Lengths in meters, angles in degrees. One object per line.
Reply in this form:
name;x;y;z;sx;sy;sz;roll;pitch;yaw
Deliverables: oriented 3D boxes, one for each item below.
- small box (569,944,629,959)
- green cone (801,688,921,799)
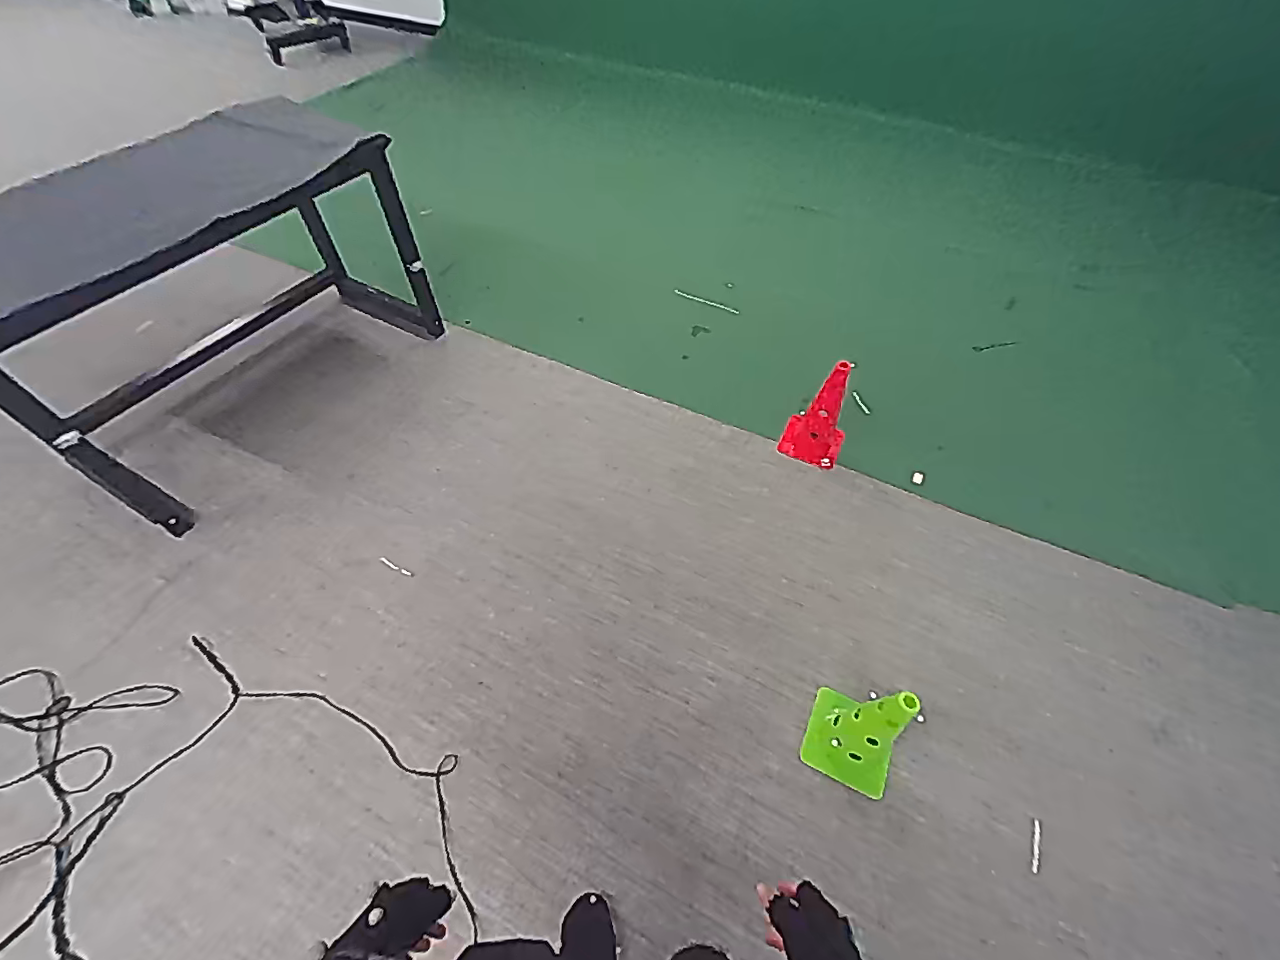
small box;-0.069;1.002;0.996;0.168;0.176;0.179;17;57;0
green cone;0.513;0.536;1.182;0.200;0.368;0.202;22;56;14
